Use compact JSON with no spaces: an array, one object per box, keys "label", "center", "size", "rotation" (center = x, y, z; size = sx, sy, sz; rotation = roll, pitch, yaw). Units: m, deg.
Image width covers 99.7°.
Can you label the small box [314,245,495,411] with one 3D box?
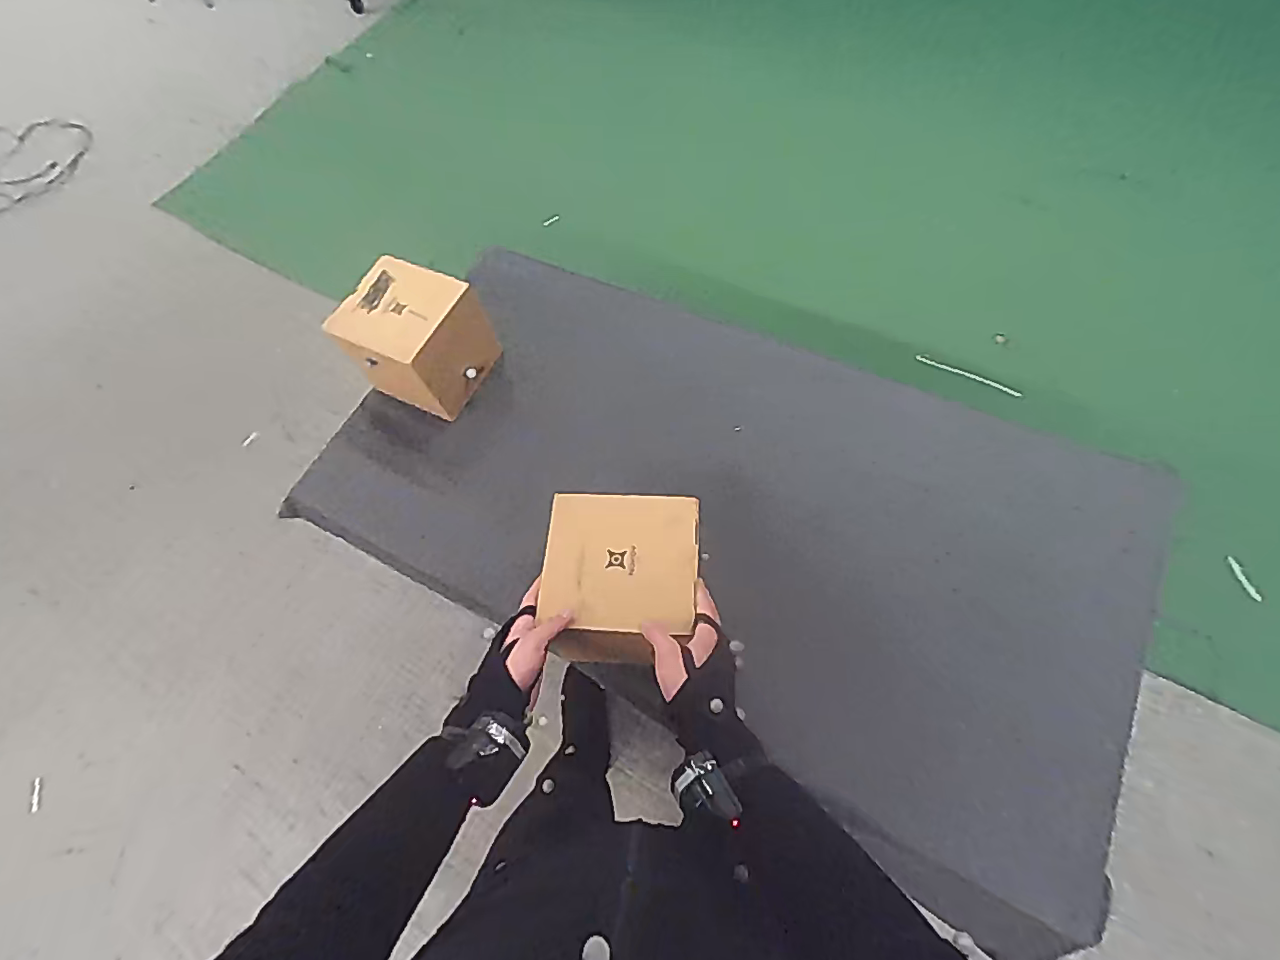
[{"label":"small box","center":[-0.366,-0.239,0.875],"size":[0.179,0.176,0.168],"rotation":[24,69,12]}]

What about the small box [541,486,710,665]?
[{"label":"small box","center":[-0.008,0.122,0.662],"size":[0.179,0.176,0.168],"rotation":[1,58,4]}]
